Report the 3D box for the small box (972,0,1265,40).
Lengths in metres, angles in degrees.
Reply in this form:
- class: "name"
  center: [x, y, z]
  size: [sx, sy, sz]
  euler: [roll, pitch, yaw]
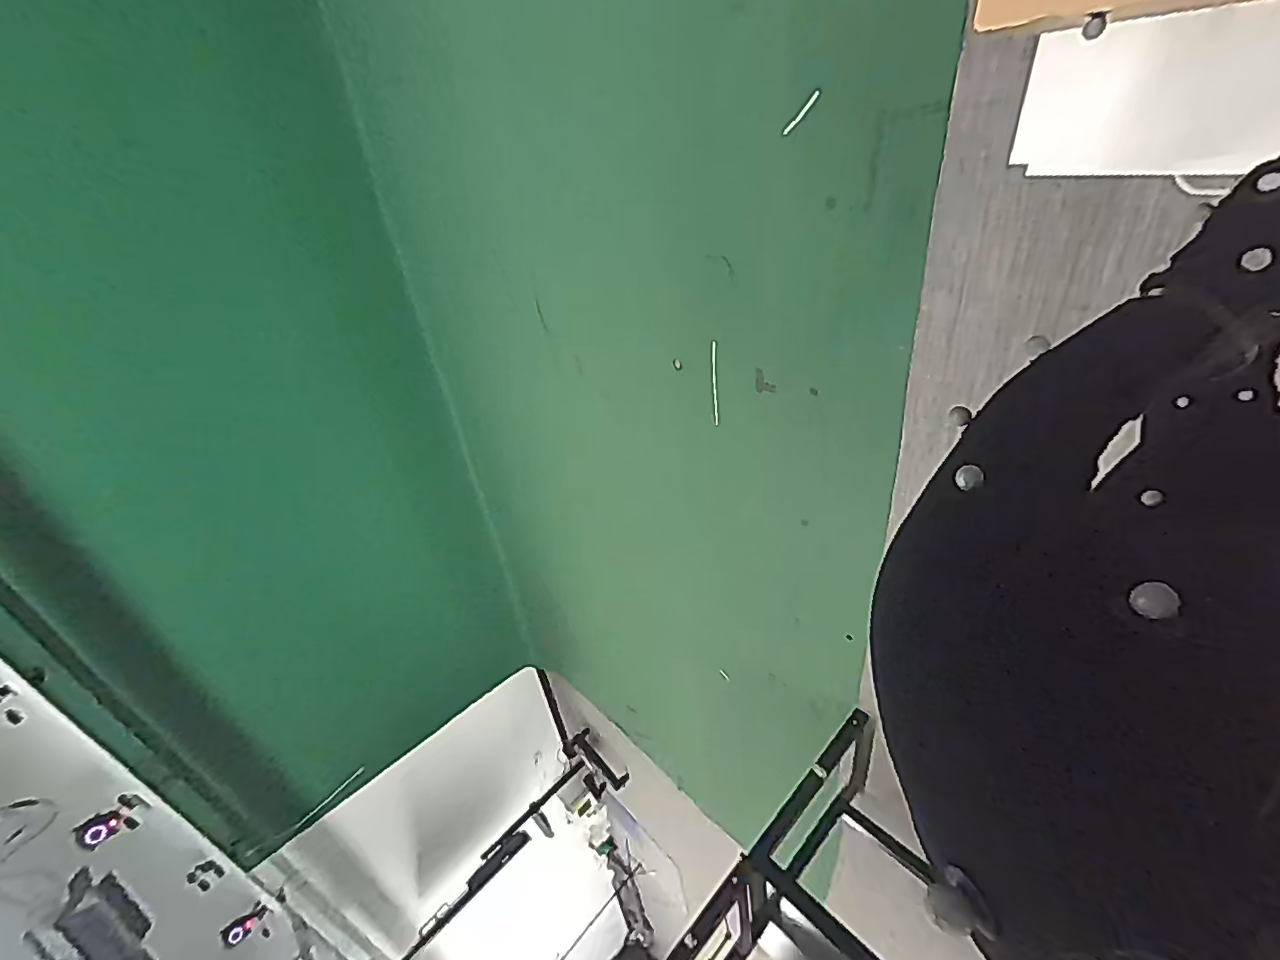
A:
- class: "small box"
  center: [0.385, -0.438, 0.394]
  size: [0.179, 0.176, 0.168]
  euler: [26, 135, 39]
